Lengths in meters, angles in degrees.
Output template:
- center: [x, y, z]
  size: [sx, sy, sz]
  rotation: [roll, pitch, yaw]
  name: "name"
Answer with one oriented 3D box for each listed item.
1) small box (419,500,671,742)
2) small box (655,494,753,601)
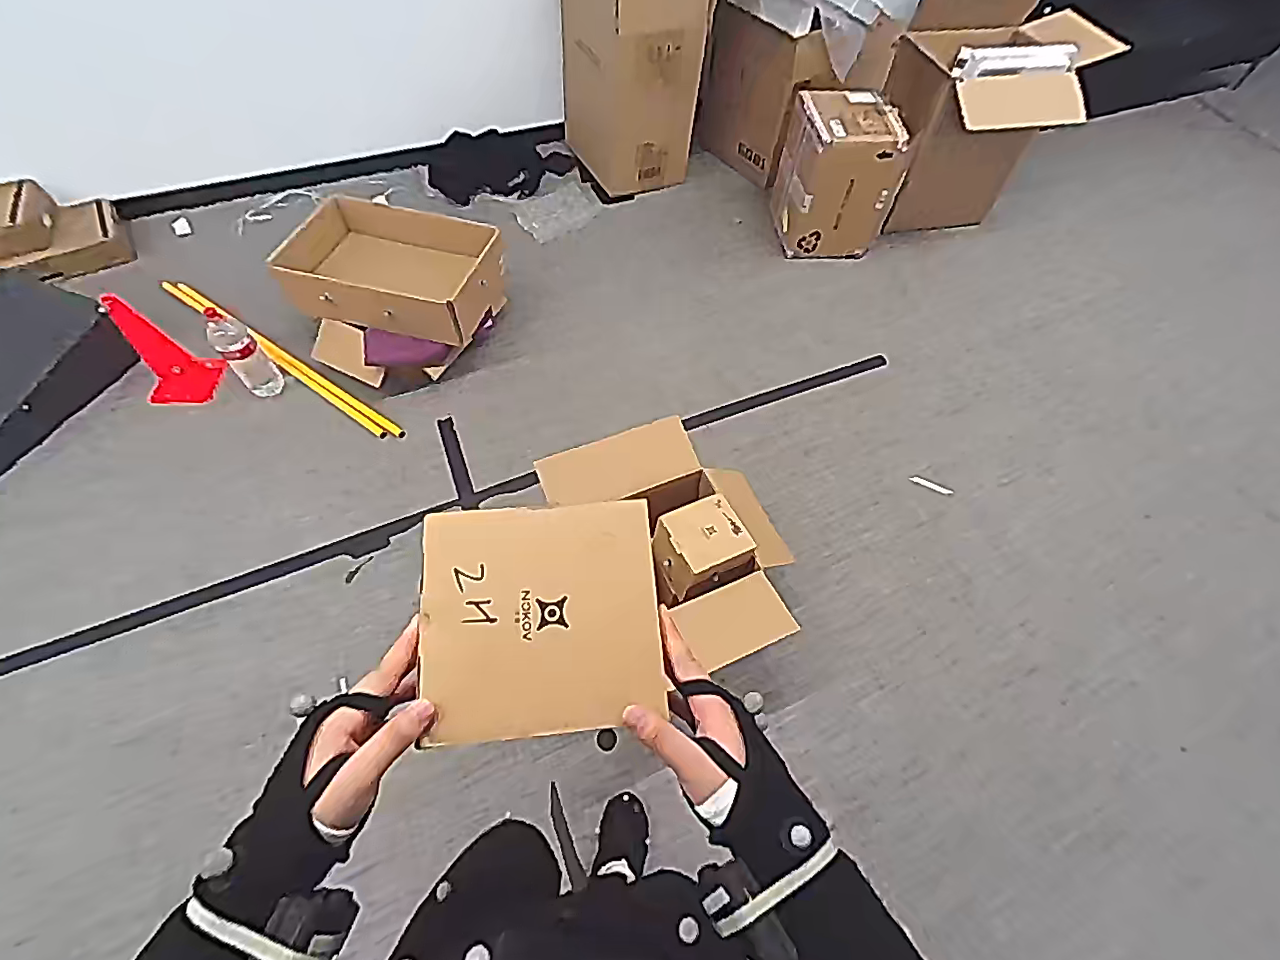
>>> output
- center: [-0.077, 0.124, 0.475]
  size: [0.179, 0.176, 0.168]
  rotation: [-4, 70, -6]
  name: "small box"
- center: [0.145, 0.169, 1.317]
  size: [0.179, 0.176, 0.168]
  rotation: [-21, 59, -19]
  name: "small box"
